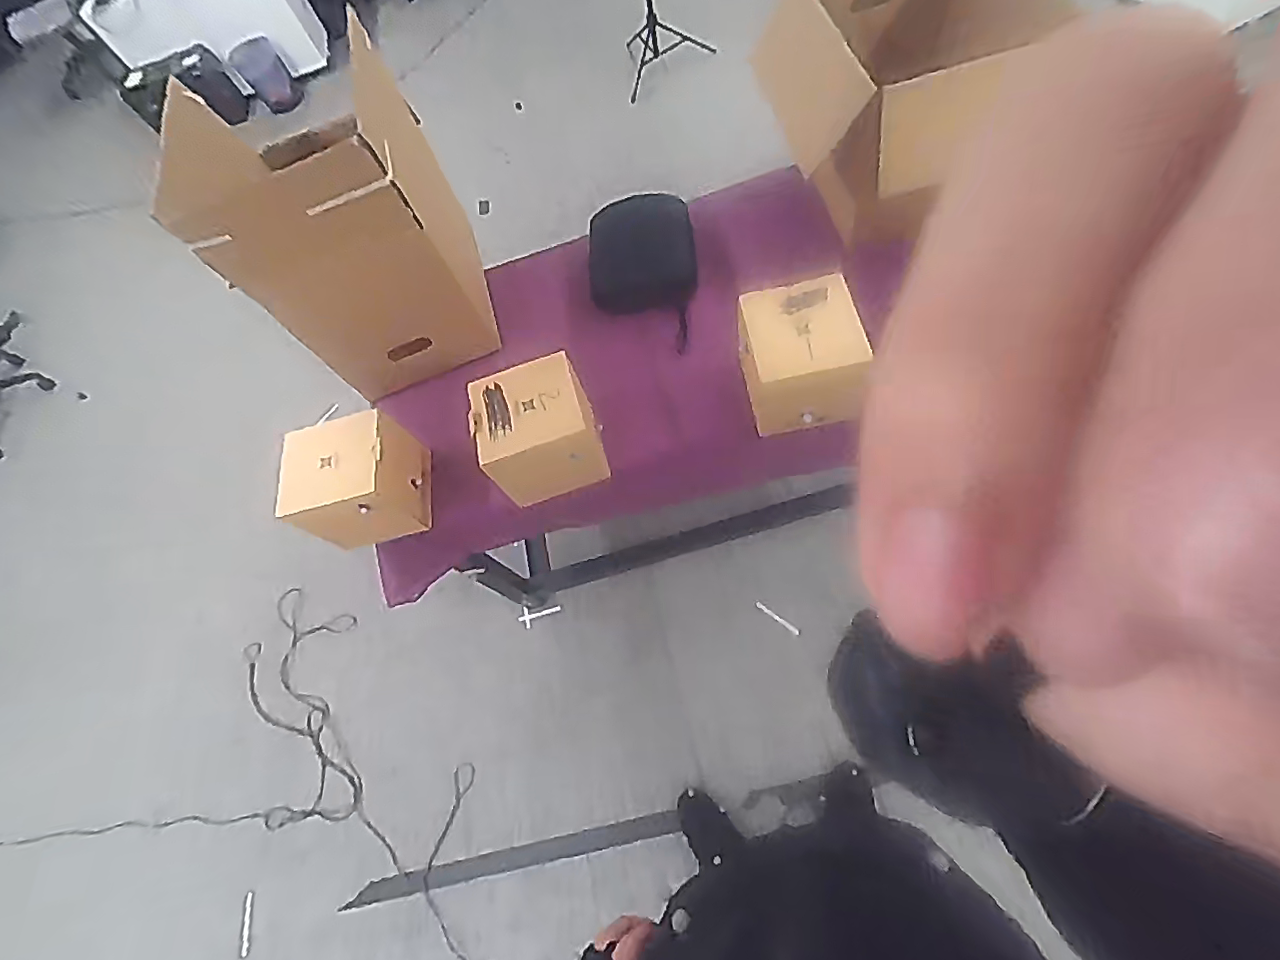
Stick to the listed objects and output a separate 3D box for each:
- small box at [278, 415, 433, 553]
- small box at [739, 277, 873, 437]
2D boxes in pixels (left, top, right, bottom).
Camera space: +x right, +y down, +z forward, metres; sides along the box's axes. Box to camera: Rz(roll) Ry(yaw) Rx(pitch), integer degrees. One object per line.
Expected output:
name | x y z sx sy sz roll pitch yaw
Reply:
small box | -0.492 0.014 0.959 0.179 0.176 0.168 -15 63 4
small box | 0.261 -0.196 0.894 0.168 0.176 0.179 -12 65 7
